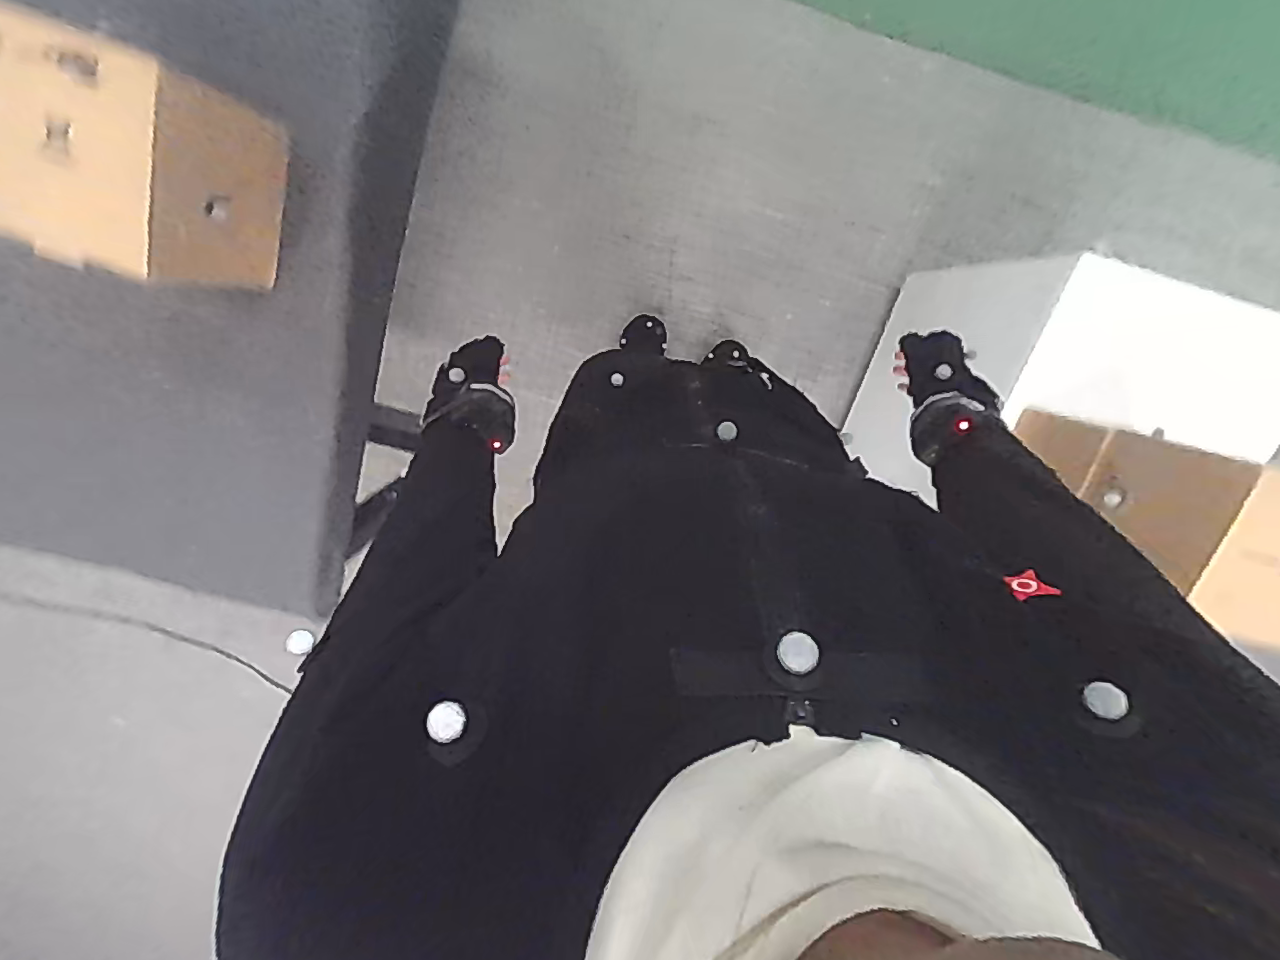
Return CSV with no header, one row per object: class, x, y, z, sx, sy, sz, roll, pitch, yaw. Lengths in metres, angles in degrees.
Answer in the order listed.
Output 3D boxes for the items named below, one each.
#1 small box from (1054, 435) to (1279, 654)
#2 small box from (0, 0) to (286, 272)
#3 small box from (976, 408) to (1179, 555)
small box,0.605,0.060,0.572,0.179,0.176,0.168,10,109,-2
small box,-0.484,-0.316,0.529,0.168,0.176,0.179,19,109,-3
small box,0.607,0.009,0.728,0.179,0.176,0.168,13,108,0
